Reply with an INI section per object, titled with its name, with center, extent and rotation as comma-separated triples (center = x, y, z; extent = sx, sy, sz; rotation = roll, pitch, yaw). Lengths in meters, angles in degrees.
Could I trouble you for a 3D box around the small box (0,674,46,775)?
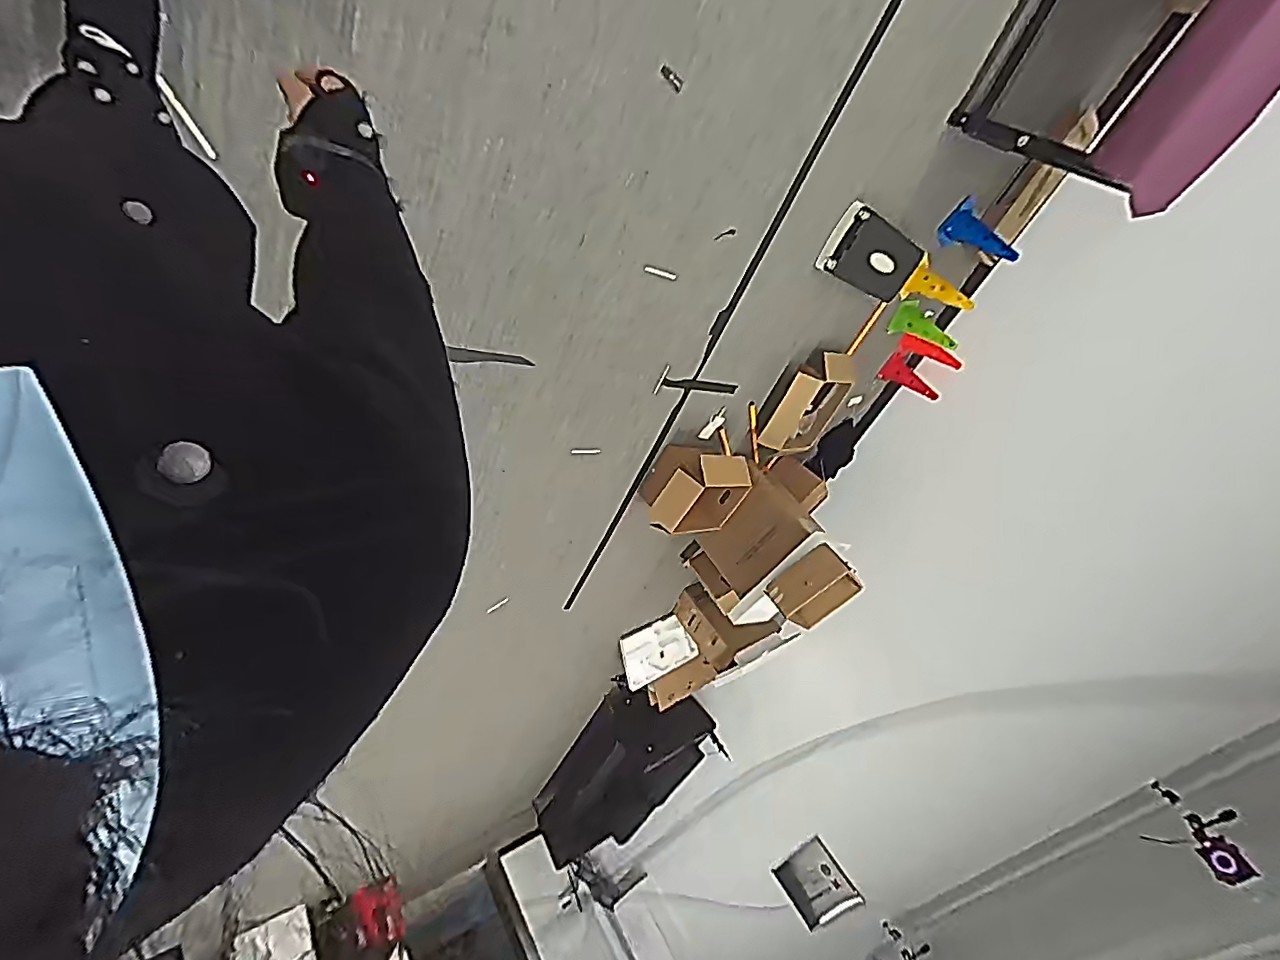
[small box]
center = -1.598, 0.615, 1.340
extent = 0.168, 0.176, 0.179
rotation = 0, 130, -48
